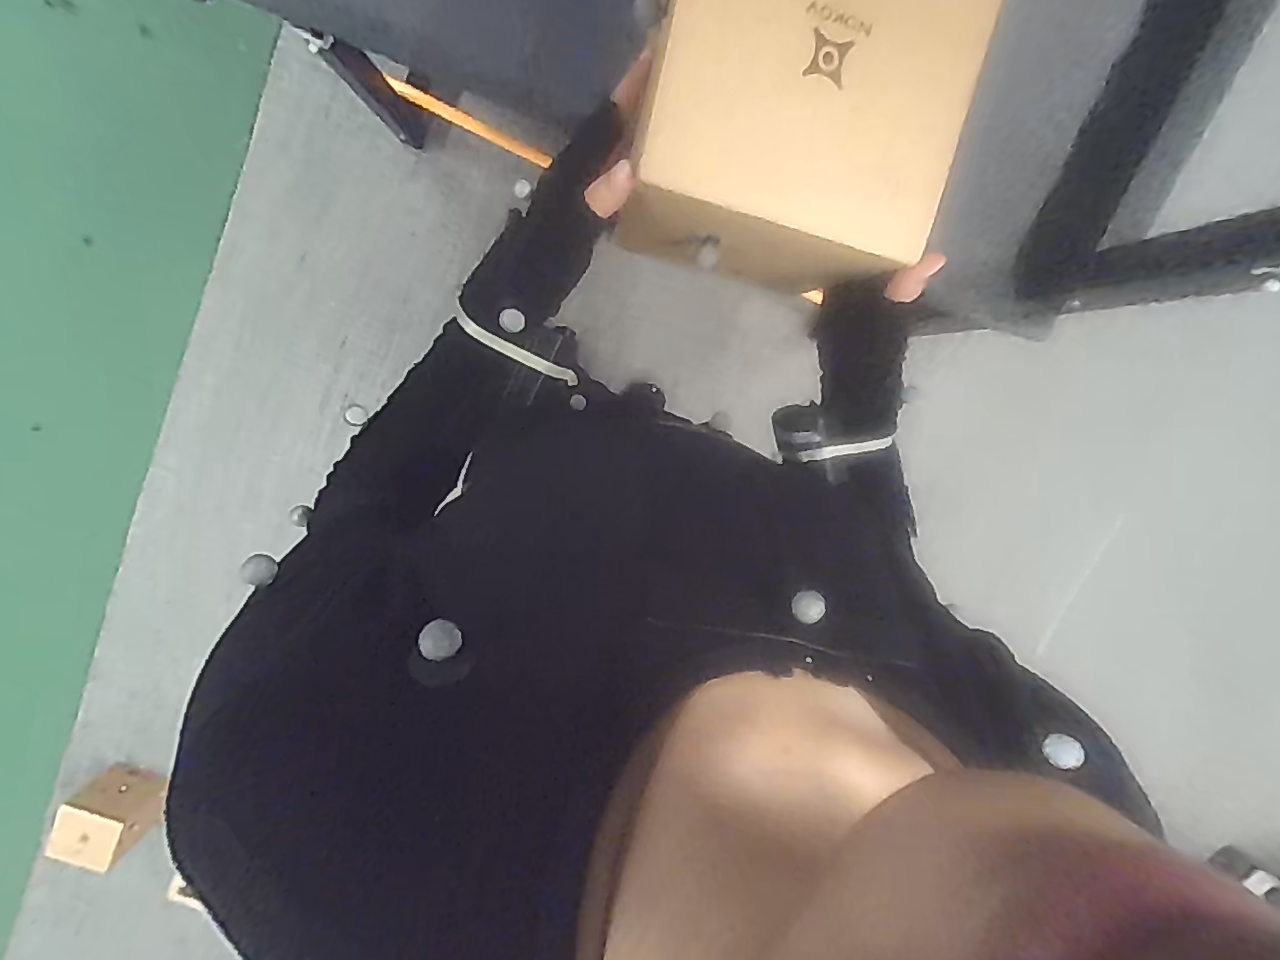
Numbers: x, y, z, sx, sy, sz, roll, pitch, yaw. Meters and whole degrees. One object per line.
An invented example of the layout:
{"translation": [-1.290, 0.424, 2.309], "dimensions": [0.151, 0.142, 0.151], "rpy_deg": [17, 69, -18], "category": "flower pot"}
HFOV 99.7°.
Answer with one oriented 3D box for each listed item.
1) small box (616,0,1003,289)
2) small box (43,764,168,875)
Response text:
{"translation": [0.084, -0.235, 0.344], "dimensions": [0.168, 0.176, 0.179], "rpy_deg": [11, 99, -10], "category": "small box"}
{"translation": [-1.486, 0.942, 1.517], "dimensions": [0.168, 0.176, 0.179], "rpy_deg": [25, 99, -6], "category": "small box"}
